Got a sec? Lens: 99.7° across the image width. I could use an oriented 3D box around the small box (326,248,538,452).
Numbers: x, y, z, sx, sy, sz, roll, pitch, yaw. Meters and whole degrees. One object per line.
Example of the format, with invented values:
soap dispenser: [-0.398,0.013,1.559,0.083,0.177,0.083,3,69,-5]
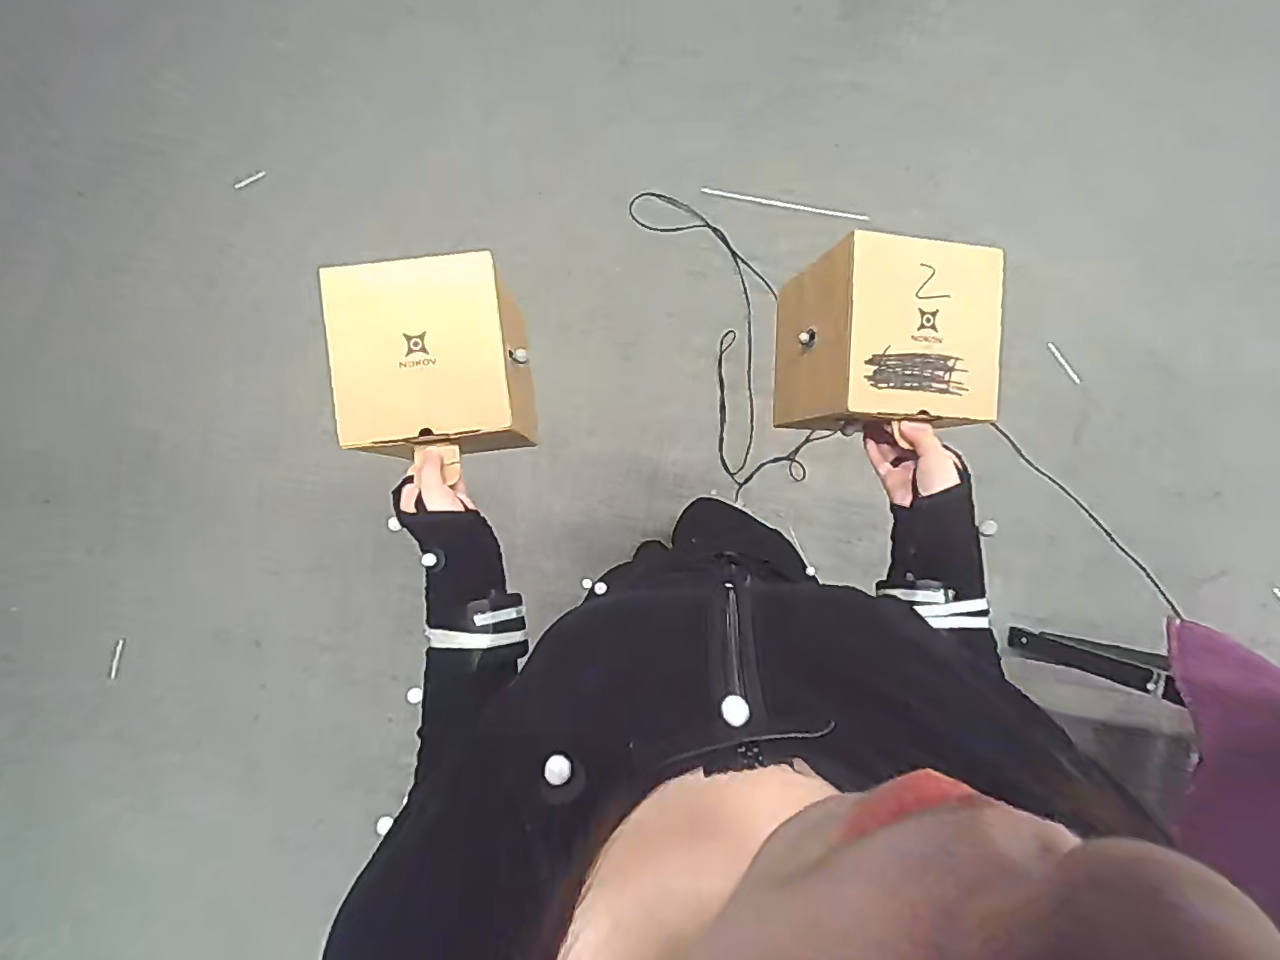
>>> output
small box: [-0.212,-0.129,0.595,0.168,0.176,0.179,-6,90,-2]
